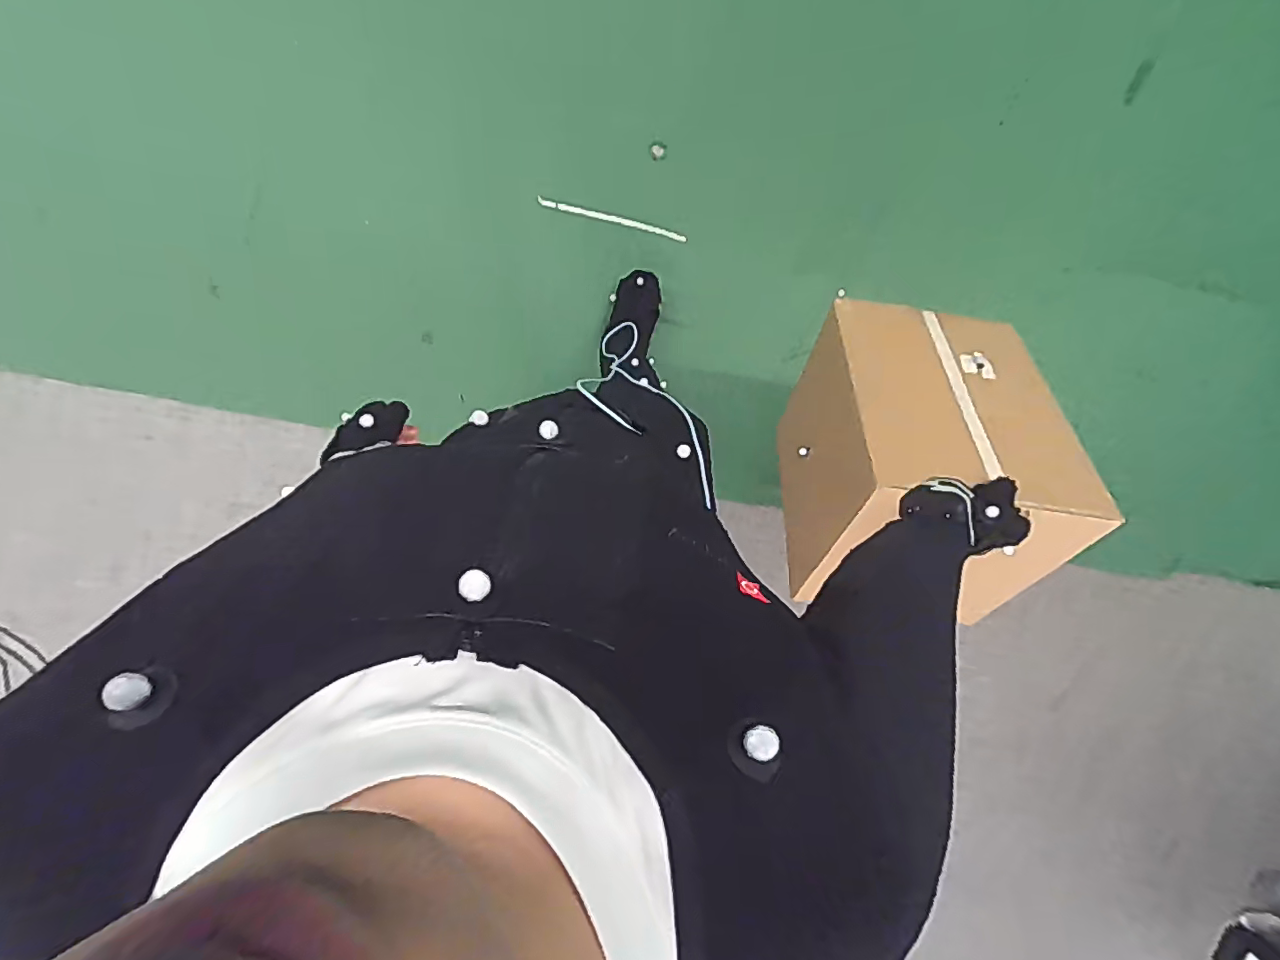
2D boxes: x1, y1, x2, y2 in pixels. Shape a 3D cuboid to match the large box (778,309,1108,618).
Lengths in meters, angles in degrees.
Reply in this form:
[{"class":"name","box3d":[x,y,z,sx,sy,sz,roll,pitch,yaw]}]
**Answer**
[{"class":"large box","box3d":[0.440,-0.026,0.913,0.320,0.408,0.320,9,140,-3]}]
